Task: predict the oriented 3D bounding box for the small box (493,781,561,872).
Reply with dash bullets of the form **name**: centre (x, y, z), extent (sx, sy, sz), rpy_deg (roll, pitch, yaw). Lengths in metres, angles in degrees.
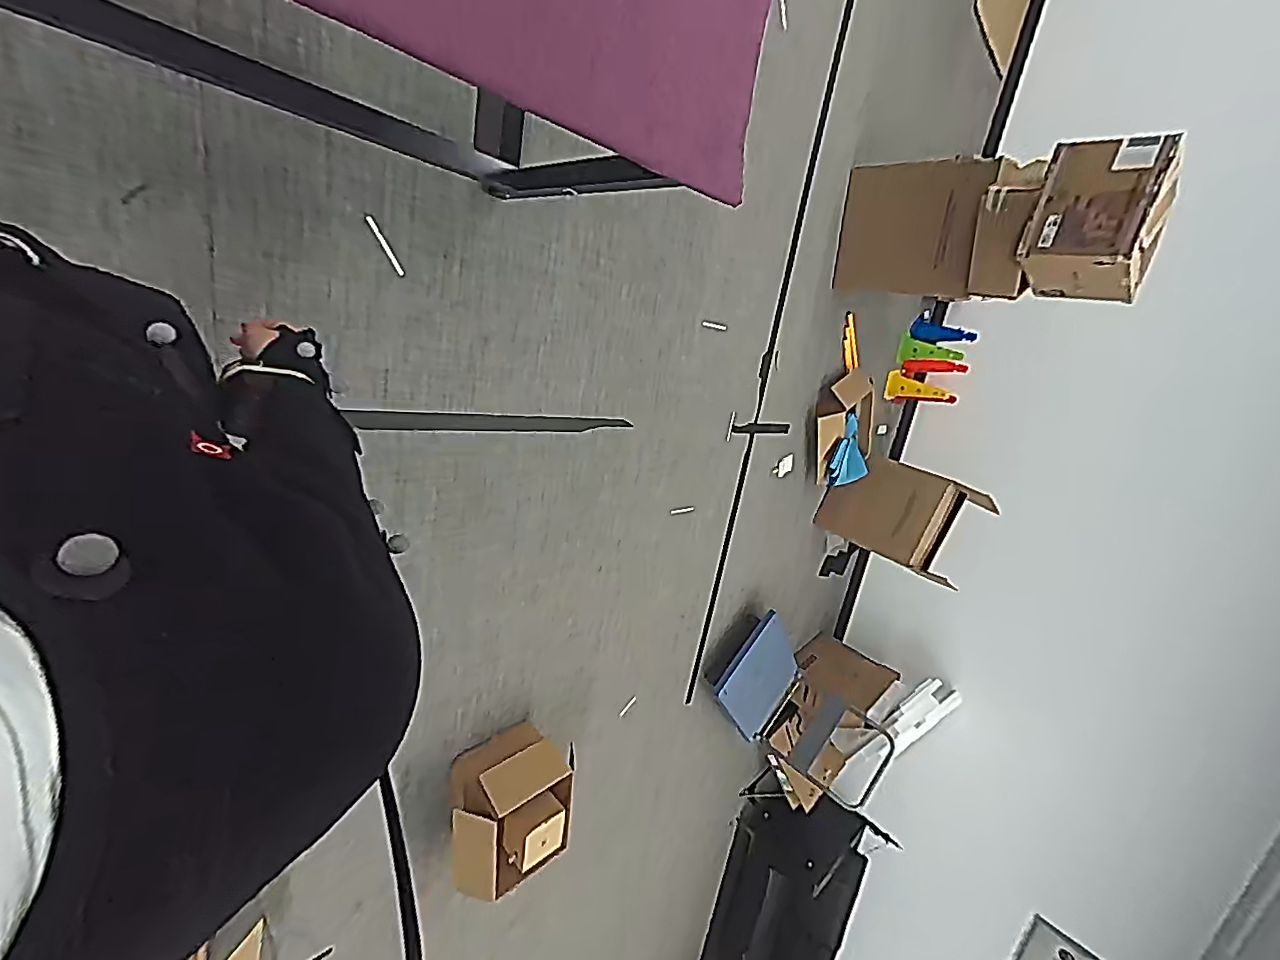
- **small box**: centre (-0.405, 1.220, 1.916), extent (0.168, 0.176, 0.179), rpy_deg (-9, 114, -45)
